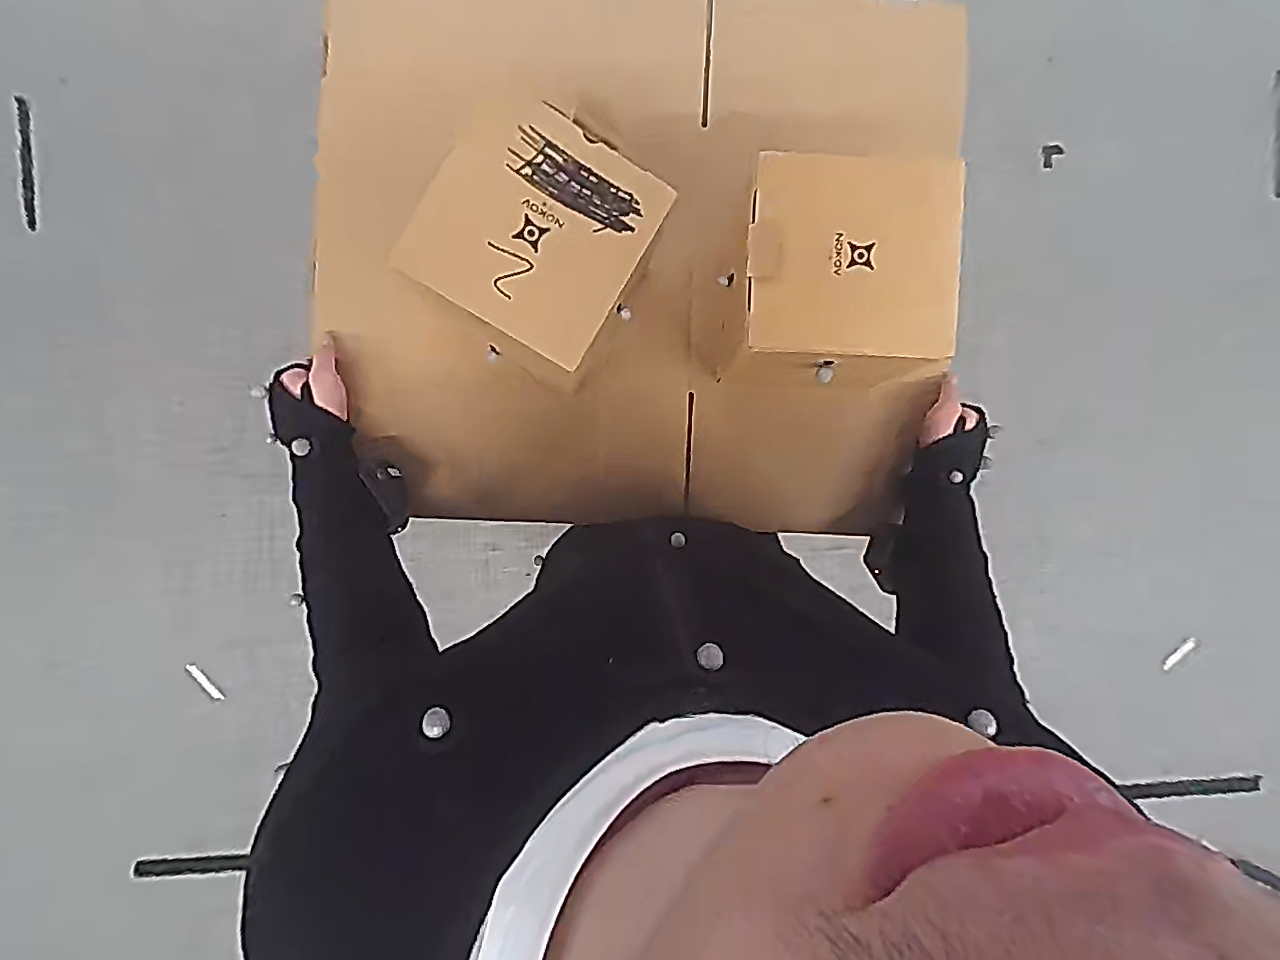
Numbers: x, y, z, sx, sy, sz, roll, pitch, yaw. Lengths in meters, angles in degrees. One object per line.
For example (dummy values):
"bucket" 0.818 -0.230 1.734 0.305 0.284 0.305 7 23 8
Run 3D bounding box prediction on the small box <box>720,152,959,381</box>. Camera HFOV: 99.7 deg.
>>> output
"small box" 0.183 -0.197 0.544 0.179 0.176 0.168 3 91 1
